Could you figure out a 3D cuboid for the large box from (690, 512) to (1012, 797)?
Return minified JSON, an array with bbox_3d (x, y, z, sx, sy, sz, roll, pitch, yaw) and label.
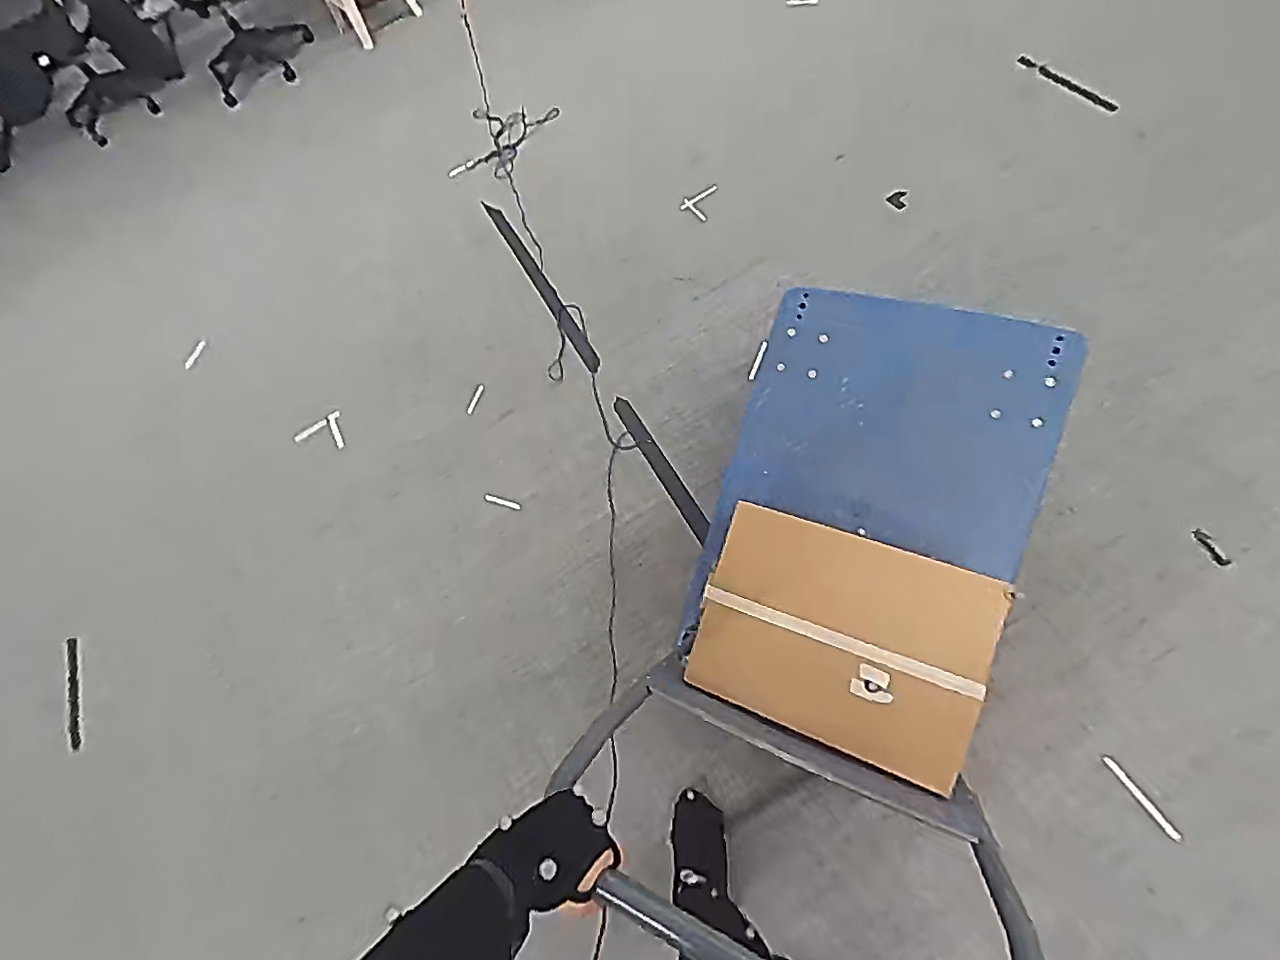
[{"bbox_3d":[0.347,0.264,0.963,0.408,0.320,0.320,17,91,20],"label":"large box"}]
